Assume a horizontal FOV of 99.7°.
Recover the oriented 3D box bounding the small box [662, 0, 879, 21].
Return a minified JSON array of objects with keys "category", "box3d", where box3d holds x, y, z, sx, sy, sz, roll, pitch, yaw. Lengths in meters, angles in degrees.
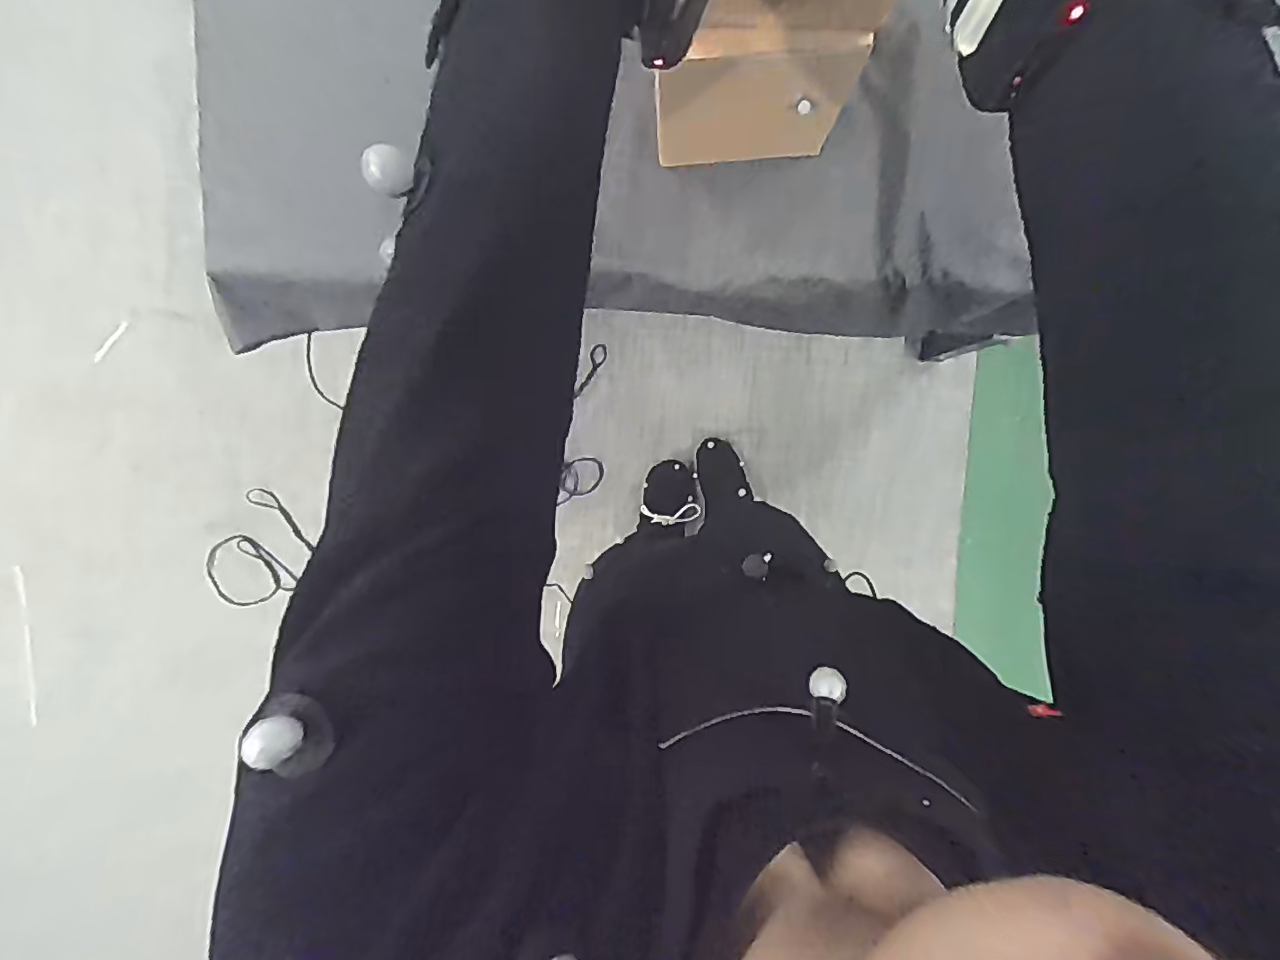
[{"category":"small box","box3d":[0.098,-0.426,0.332,0.179,0.176,0.168,2,100,3]}]
